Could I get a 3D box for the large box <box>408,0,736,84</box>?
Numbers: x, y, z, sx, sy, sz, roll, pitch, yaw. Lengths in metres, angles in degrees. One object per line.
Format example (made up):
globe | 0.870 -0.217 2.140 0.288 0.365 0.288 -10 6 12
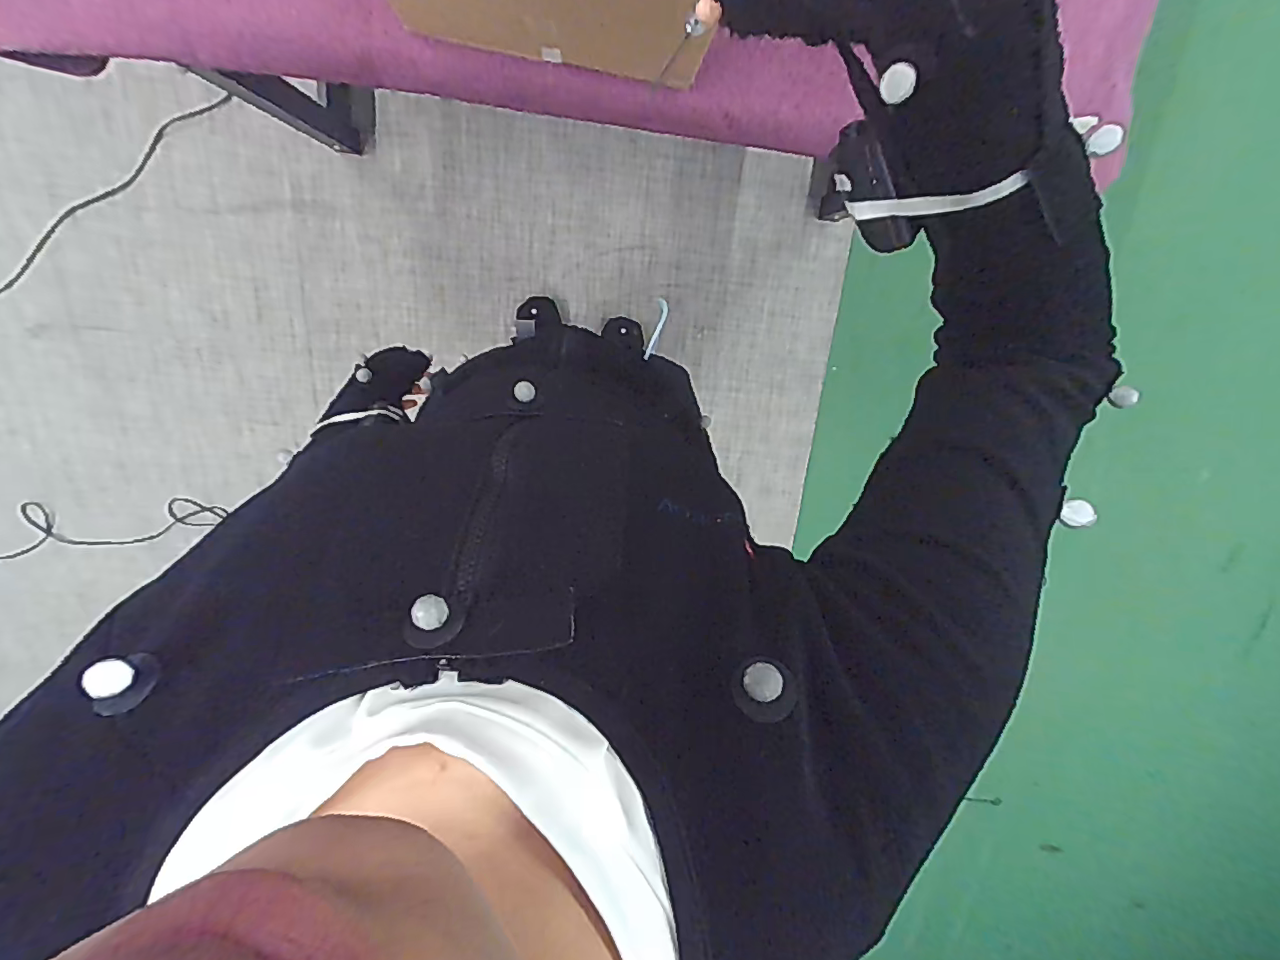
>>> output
large box | -0.045 -0.607 0.401 0.320 0.320 0.408 7 108 -7
